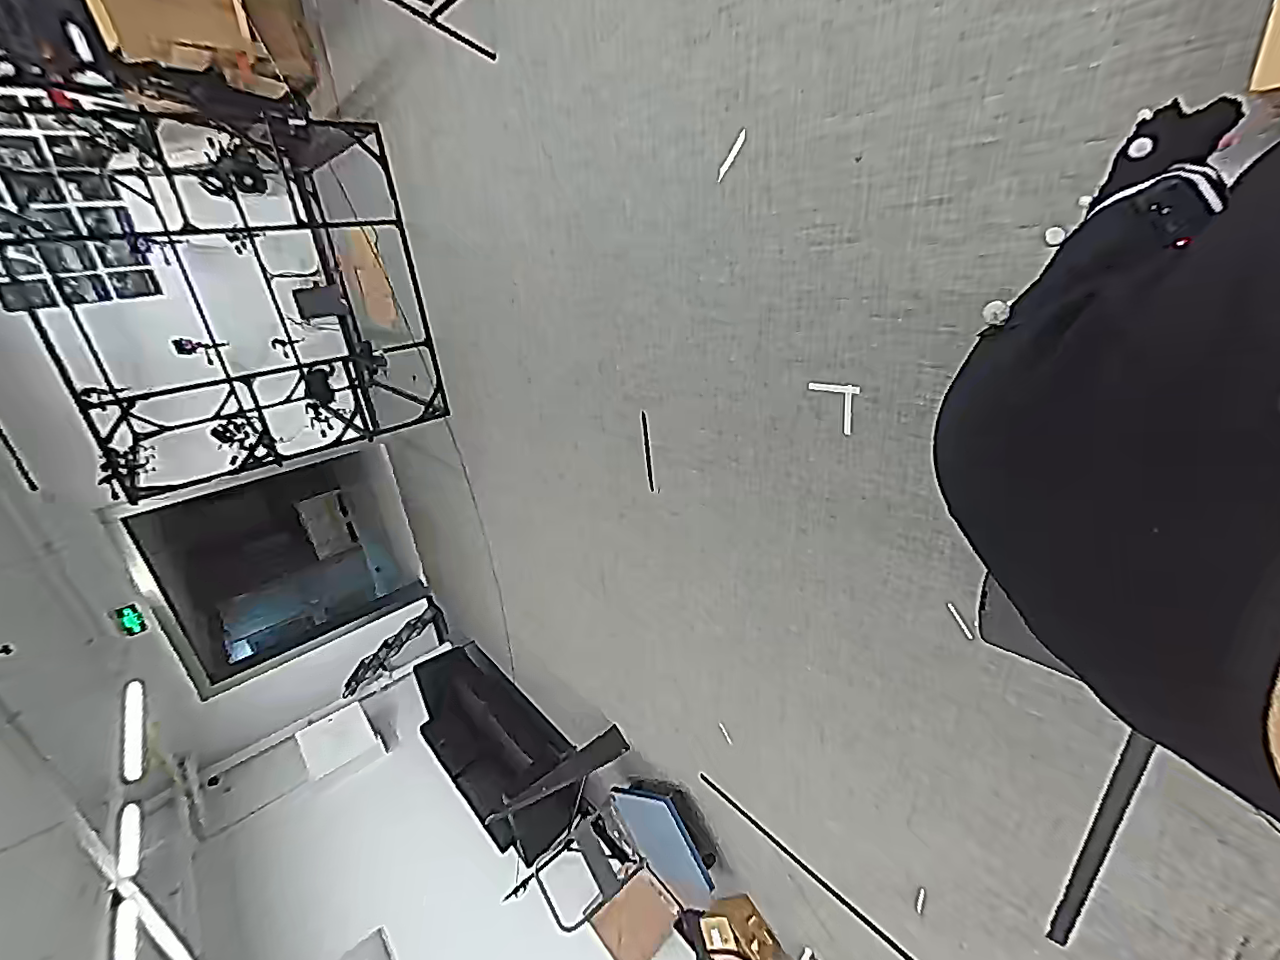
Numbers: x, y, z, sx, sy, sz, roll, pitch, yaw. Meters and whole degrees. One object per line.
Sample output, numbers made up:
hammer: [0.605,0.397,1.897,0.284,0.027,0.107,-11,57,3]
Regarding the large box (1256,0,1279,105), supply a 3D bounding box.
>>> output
large box: [1.044,-0.667,0.611,0.408,0.320,0.320,19,124,45]
